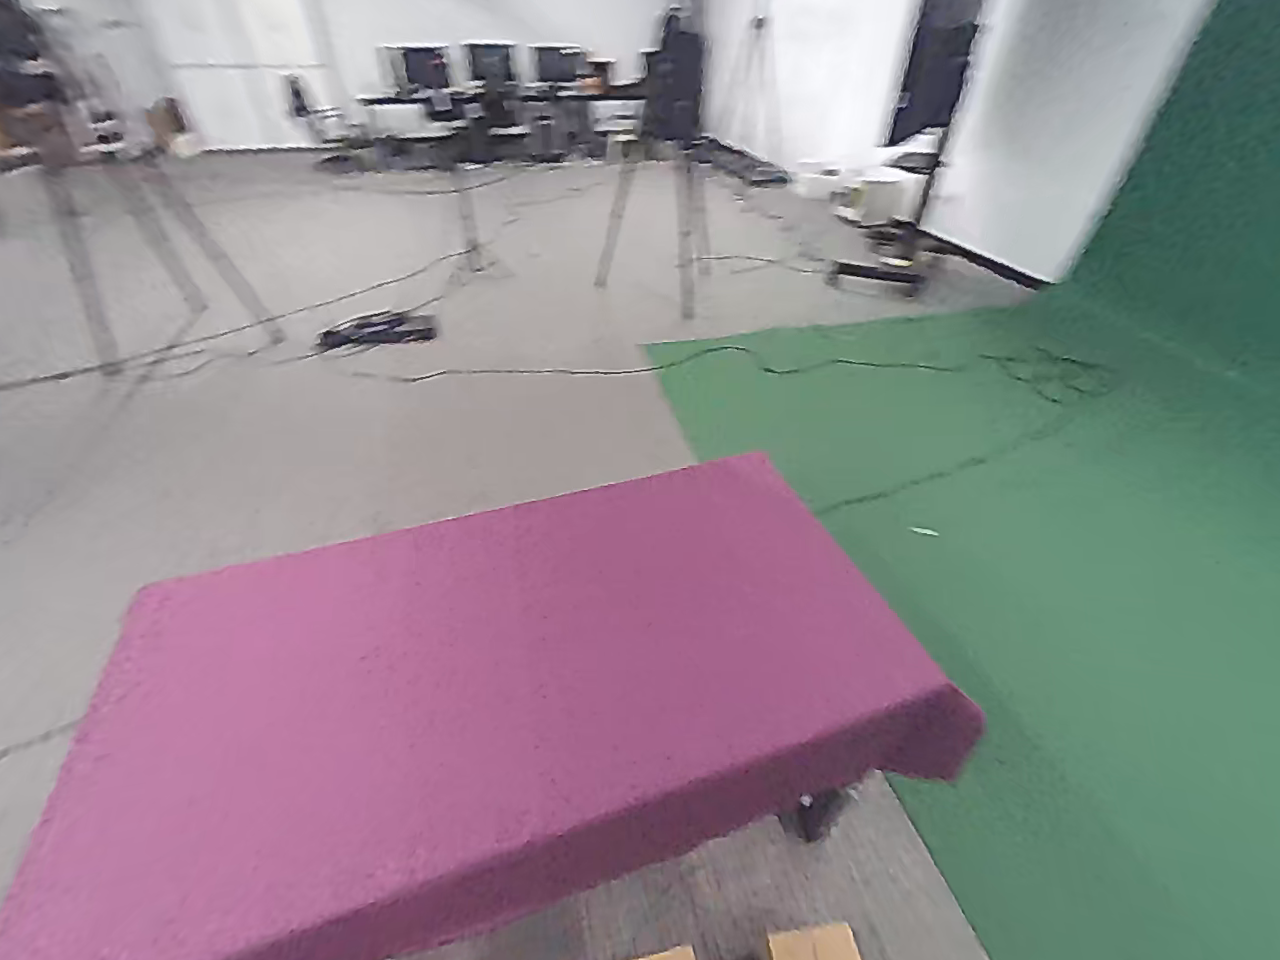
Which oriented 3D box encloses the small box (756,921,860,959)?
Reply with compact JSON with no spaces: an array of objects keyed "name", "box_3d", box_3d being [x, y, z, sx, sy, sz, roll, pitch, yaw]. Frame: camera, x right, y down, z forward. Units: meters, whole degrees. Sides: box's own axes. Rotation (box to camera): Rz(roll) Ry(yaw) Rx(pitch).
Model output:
[{"name":"small box","box_3d":[0.331,0.976,1.027,0.168,0.176,0.179,-4,40,-6]}]
